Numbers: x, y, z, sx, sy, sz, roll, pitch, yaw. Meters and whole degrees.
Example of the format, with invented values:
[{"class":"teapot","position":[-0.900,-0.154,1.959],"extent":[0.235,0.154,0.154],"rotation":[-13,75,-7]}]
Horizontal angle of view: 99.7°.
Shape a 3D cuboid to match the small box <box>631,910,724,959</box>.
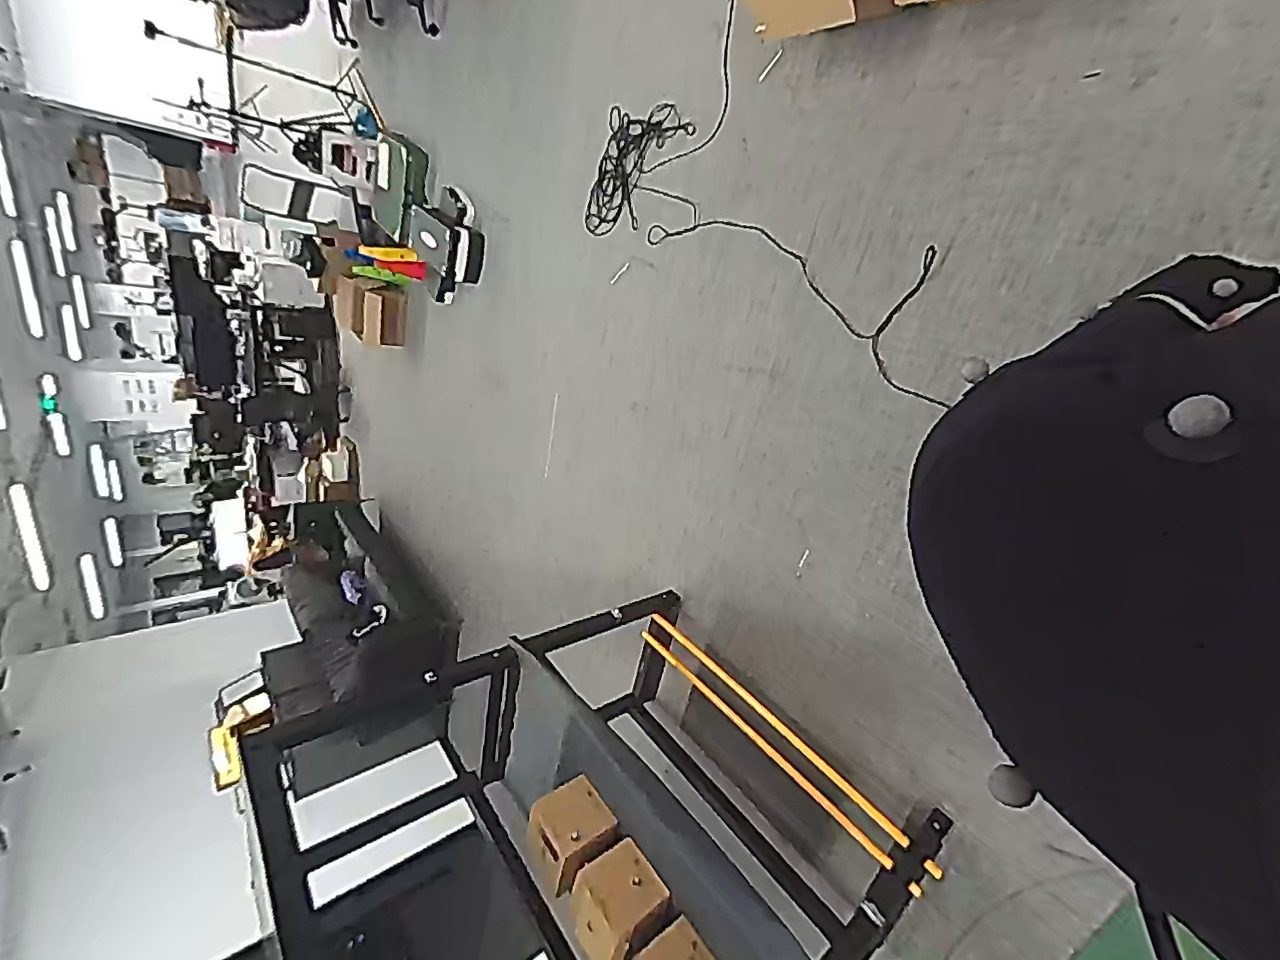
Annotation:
[{"class":"small box","position":[0.081,1.115,1.188],"extent":[0.168,0.176,0.179],"rotation":[33,120,41]}]
